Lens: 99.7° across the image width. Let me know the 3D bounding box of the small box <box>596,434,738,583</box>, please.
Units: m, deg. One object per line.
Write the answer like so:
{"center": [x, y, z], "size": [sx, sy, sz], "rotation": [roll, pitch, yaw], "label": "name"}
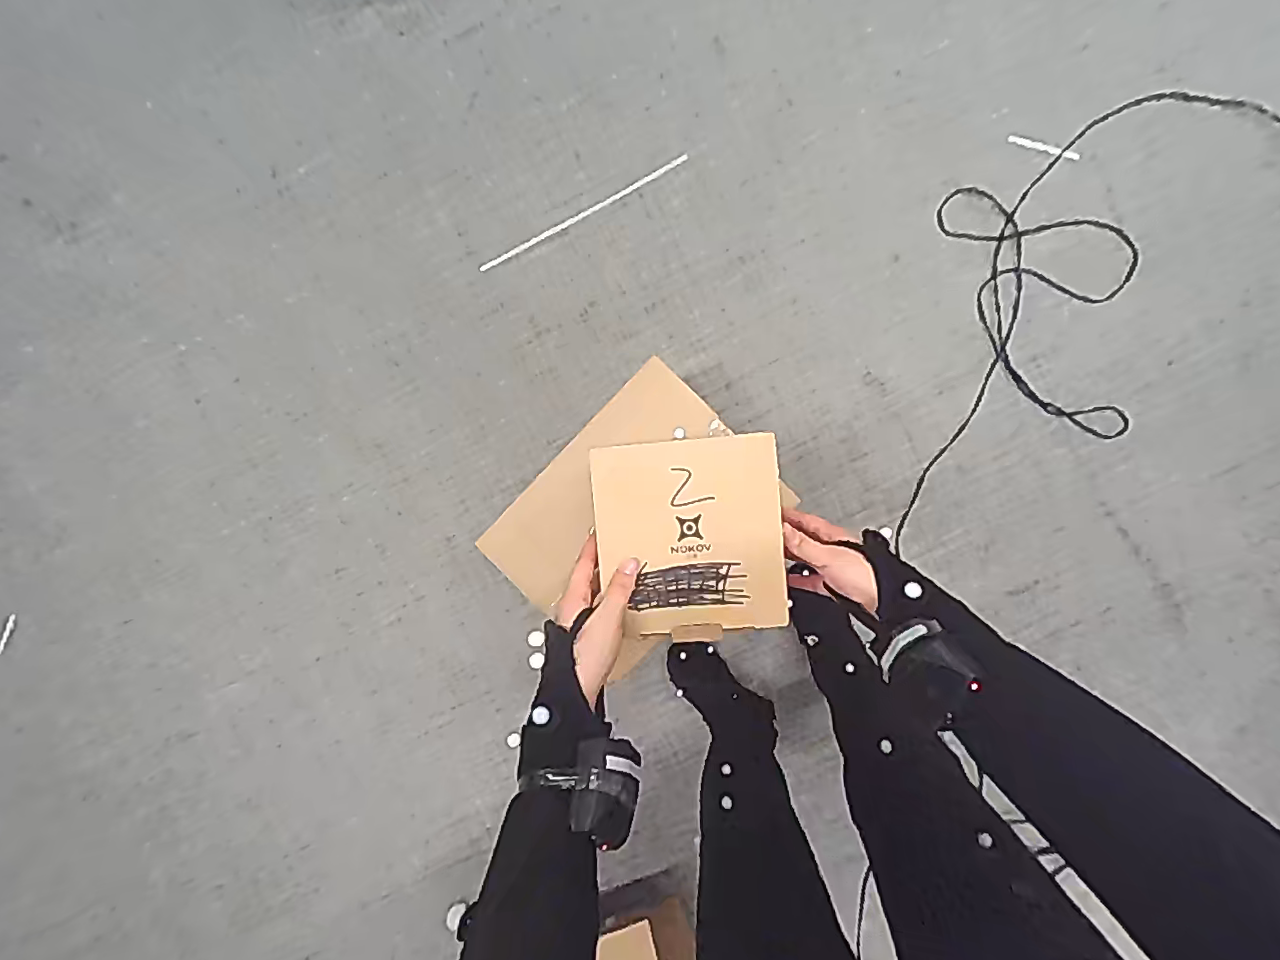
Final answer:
{"center": [0.037, 0.029, 0.733], "size": [0.168, 0.176, 0.179], "rotation": [-5, 94, 2], "label": "small box"}
